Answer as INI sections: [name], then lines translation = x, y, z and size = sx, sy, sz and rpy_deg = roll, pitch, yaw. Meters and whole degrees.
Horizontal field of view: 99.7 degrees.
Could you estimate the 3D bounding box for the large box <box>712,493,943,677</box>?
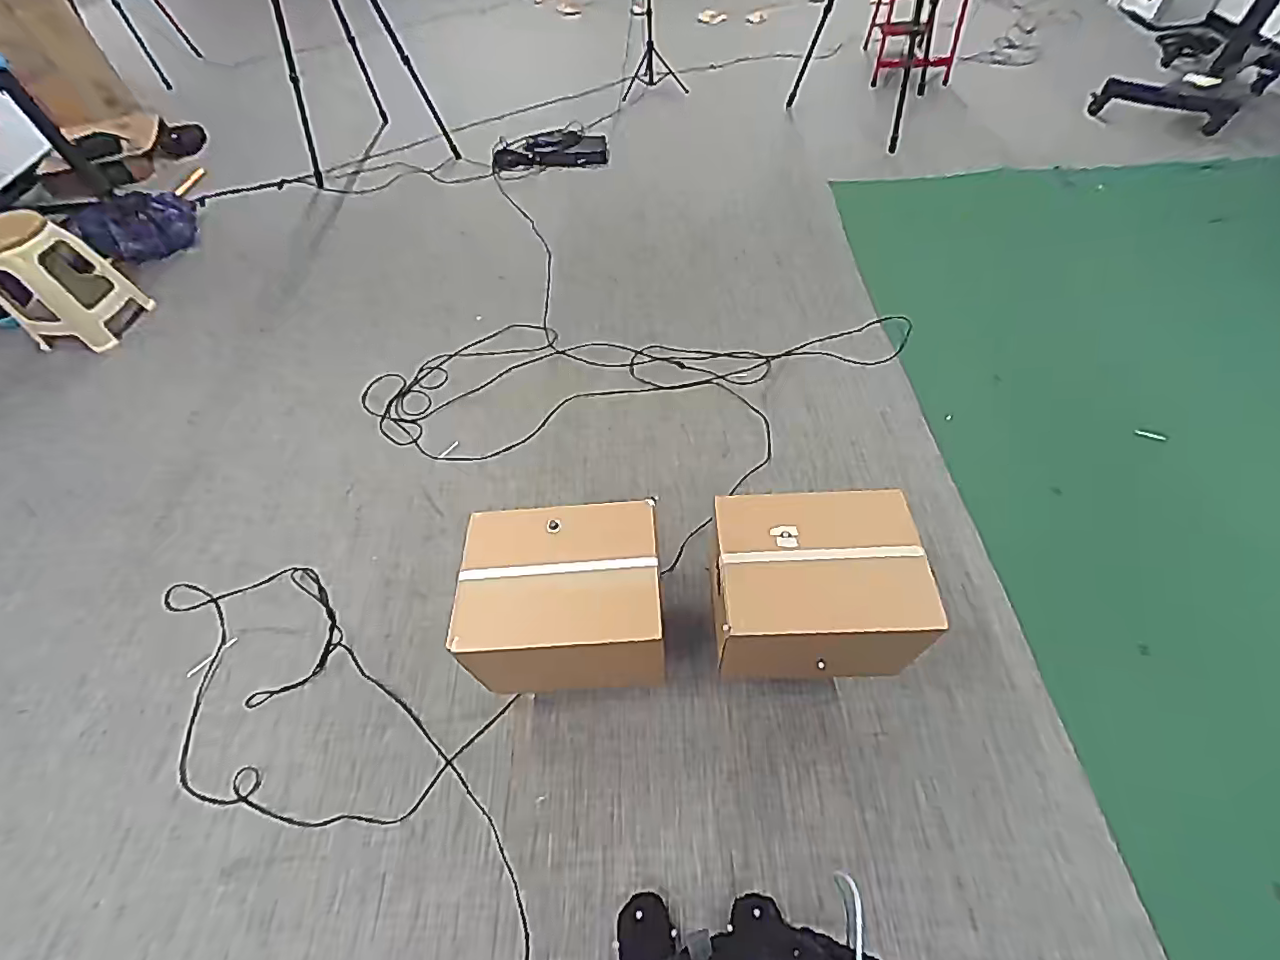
[large box]
translation = 0.380, 0.248, 1.222
size = 0.408, 0.320, 0.320
rpy_deg = -2, 54, 3
